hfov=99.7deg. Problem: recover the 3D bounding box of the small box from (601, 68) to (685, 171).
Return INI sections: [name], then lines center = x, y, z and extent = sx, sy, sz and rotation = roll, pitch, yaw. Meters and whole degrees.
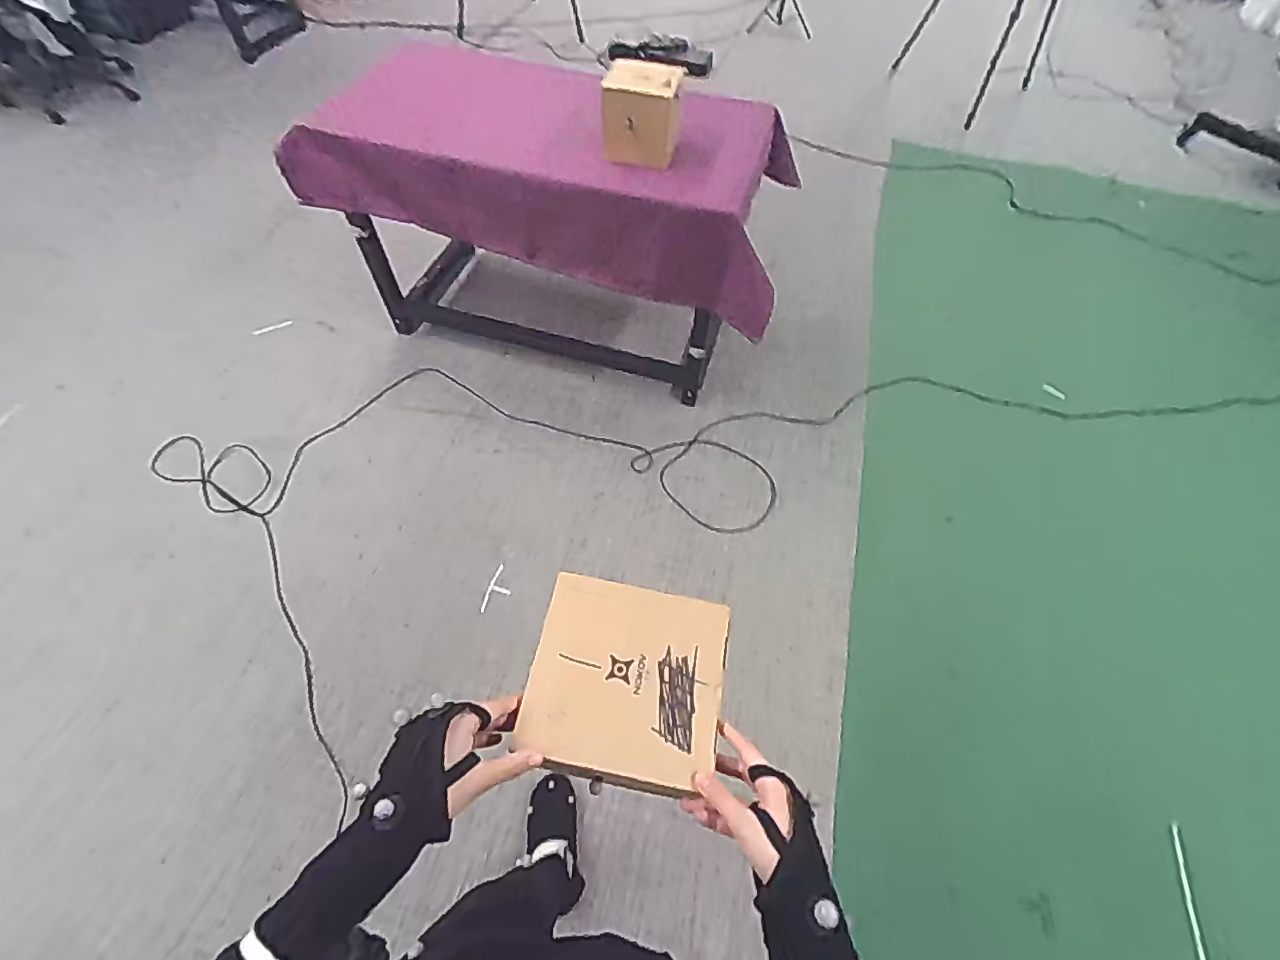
[small box]
center = 0.008, -0.924, 1.390
extent = 0.179, 0.176, 0.168
rotation = 13, 57, 6
